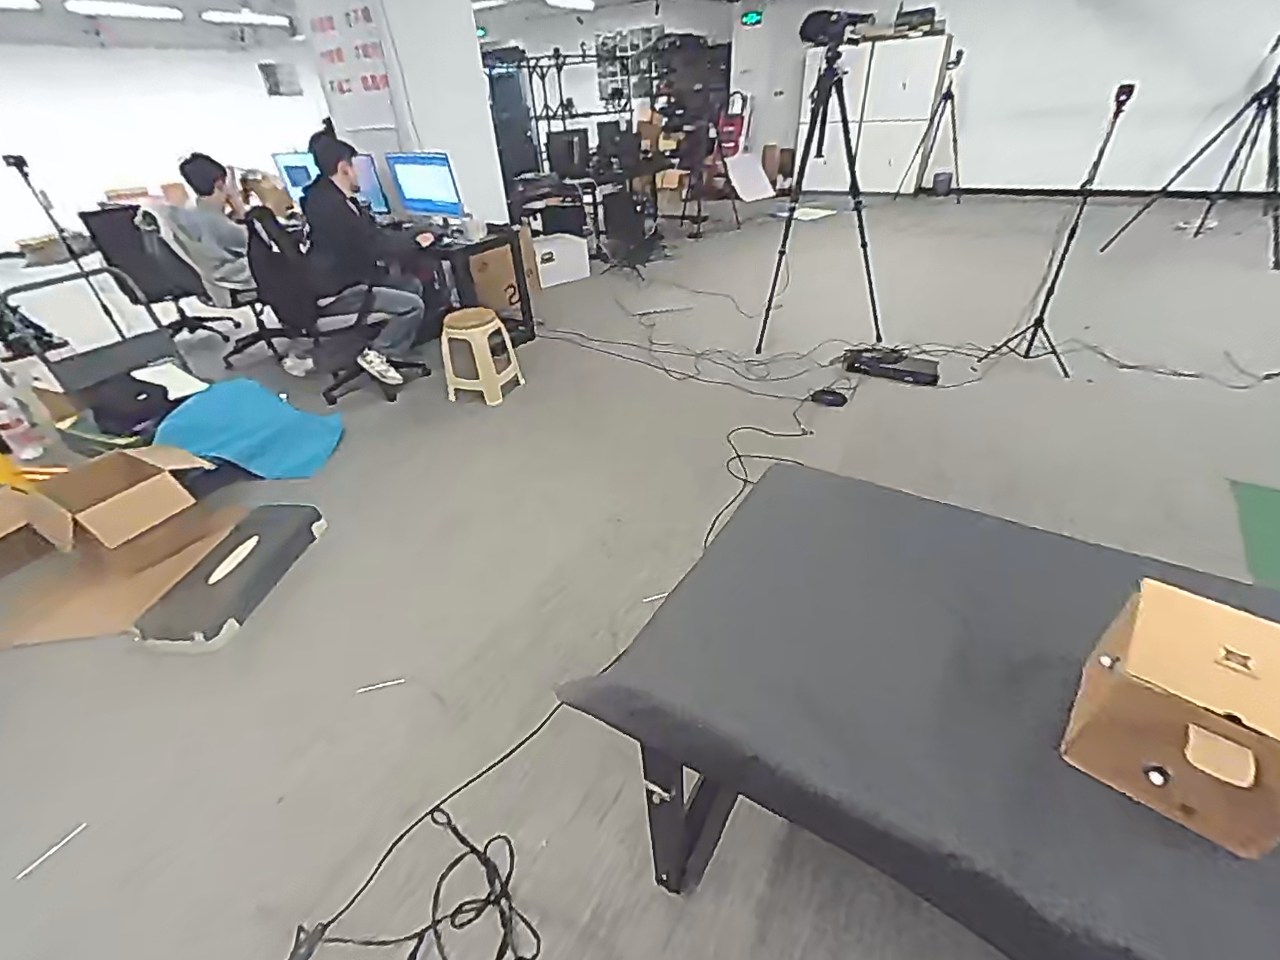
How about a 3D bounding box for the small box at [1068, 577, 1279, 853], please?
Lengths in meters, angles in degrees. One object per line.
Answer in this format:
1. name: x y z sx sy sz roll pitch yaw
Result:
1. small box: 0.604 0.246 0.587 0.168 0.176 0.179 25 44 34
